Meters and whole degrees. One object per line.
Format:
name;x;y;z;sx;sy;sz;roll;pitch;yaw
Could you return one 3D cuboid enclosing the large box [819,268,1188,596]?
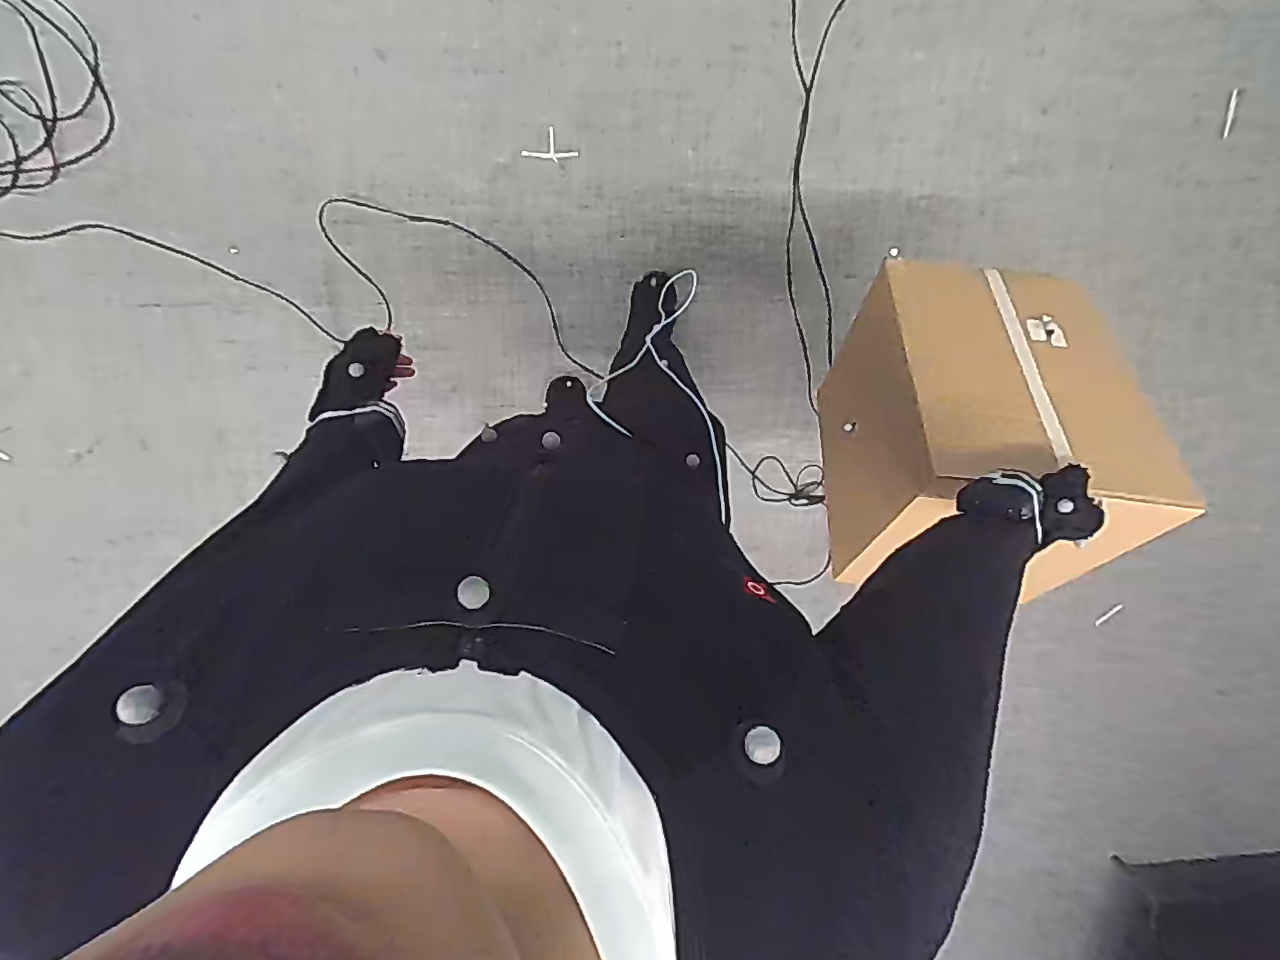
large box;0.497;-0.068;0.858;0.320;0.408;0.320;8;147;-1
